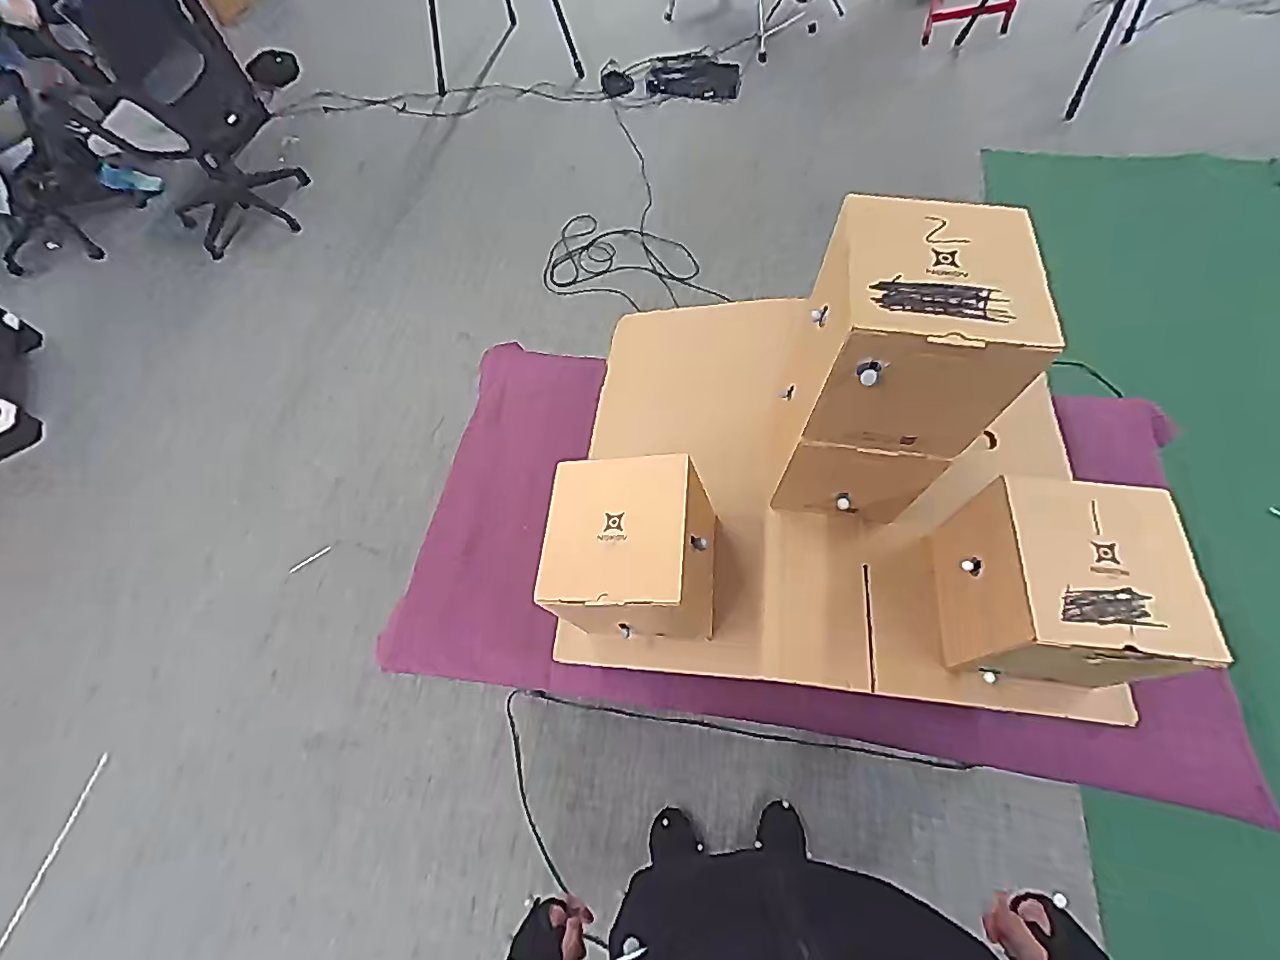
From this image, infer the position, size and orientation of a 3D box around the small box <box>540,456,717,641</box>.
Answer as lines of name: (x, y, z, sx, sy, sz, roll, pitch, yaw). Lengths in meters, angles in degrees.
small box: (-0.001, 0.089, 0.661, 0.168, 0.176, 0.179, -3, 63, 17)

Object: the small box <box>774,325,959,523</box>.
small box: (0.268, -0.066, 0.682, 0.168, 0.176, 0.179, 7, 63, 5)

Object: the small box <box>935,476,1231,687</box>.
small box: (0.447, 0.117, 0.585, 0.168, 0.176, 0.179, 6, 62, 4)
